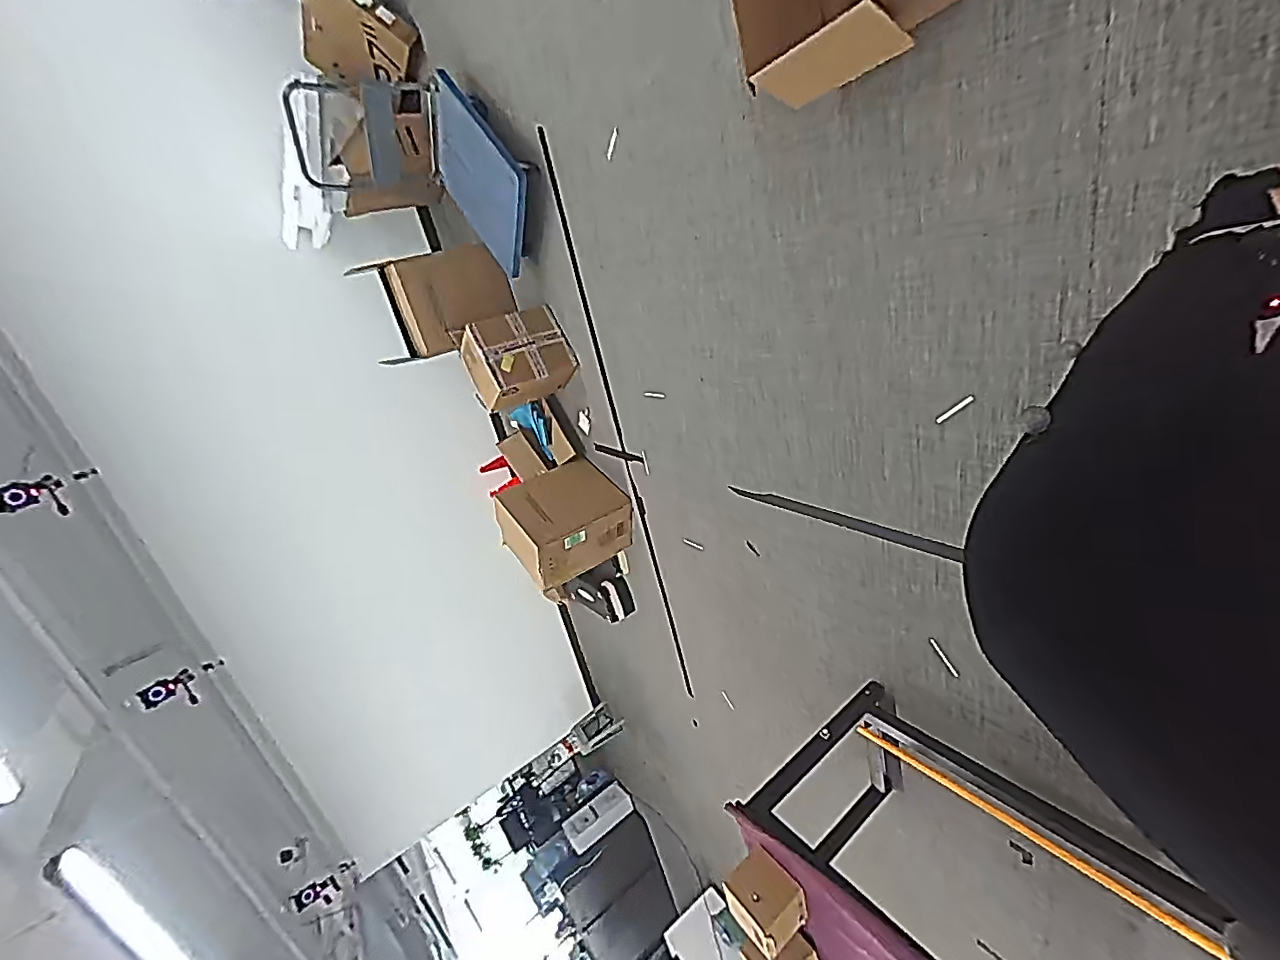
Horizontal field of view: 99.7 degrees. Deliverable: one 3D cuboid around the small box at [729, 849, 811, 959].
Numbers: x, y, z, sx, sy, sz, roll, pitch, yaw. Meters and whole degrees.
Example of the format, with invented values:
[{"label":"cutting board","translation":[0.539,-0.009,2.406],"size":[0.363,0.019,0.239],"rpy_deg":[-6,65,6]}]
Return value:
[{"label":"small box","translation":[0.402,1.286,1.645],"size":[0.179,0.176,0.168],"rpy_deg":[22,133,53]}]
